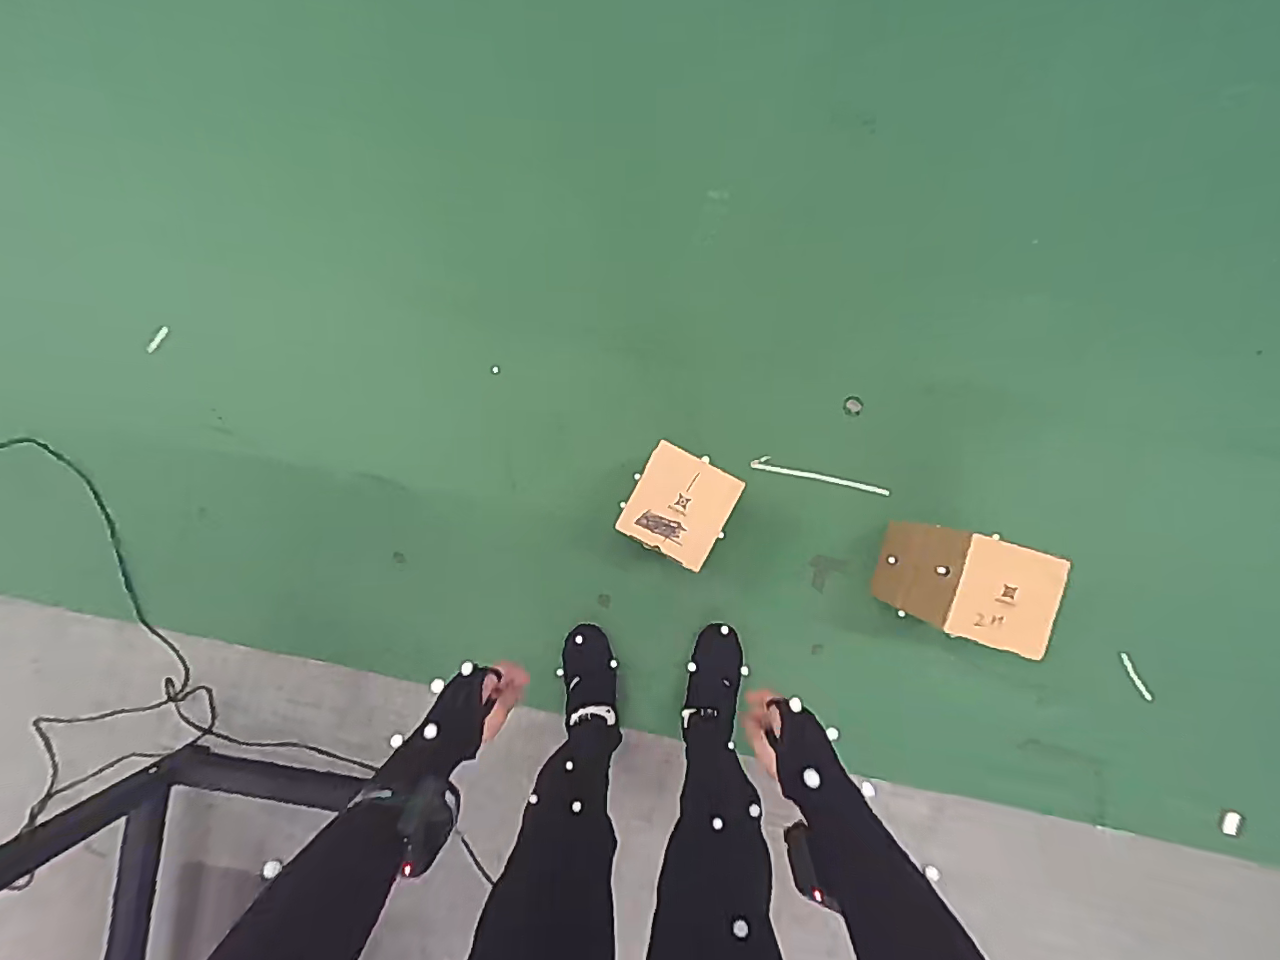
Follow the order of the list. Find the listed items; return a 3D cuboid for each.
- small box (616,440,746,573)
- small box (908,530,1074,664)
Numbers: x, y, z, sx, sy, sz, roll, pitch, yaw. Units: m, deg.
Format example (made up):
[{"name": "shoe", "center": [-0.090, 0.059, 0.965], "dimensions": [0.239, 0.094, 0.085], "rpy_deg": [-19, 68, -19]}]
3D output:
[{"name": "small box", "center": [0.075, 0.045, 0.995], "dimensions": [0.168, 0.176, 0.179], "rpy_deg": [29, 91, 2]}, {"name": "small box", "center": [0.609, 0.196, 0.963], "dimensions": [0.168, 0.176, 0.179], "rpy_deg": [18, 91, 3]}]
